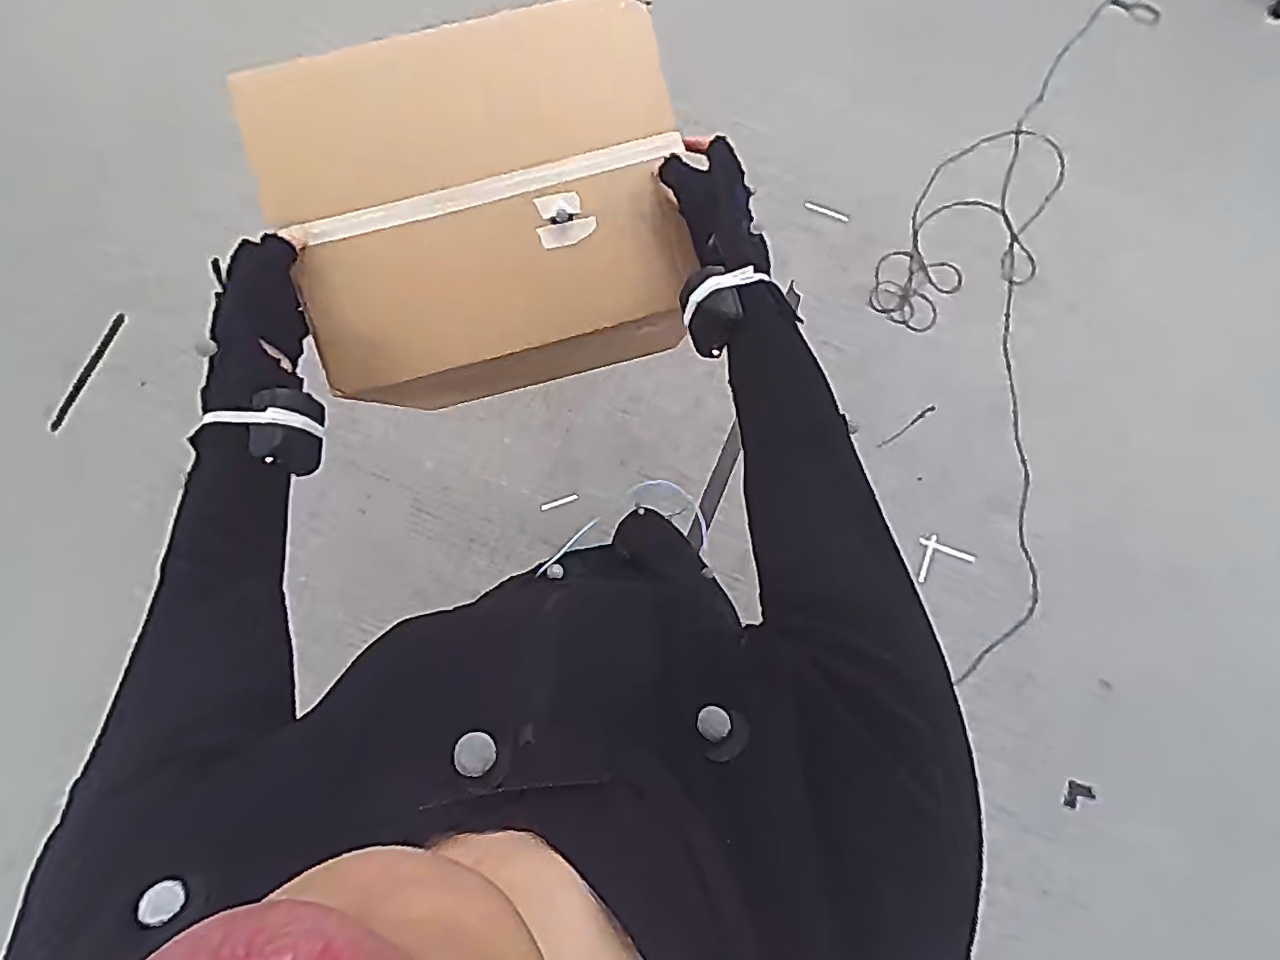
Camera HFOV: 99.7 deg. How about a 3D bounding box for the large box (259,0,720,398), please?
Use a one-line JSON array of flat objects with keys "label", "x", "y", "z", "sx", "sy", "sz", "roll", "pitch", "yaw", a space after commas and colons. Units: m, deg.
[{"label": "large box", "x": -0.155, "y": -0.311, "z": 0.692, "sx": 0.408, "sy": 0.320, "sz": 0.320, "roll": -14, "pitch": 96, "yaw": -4}]
